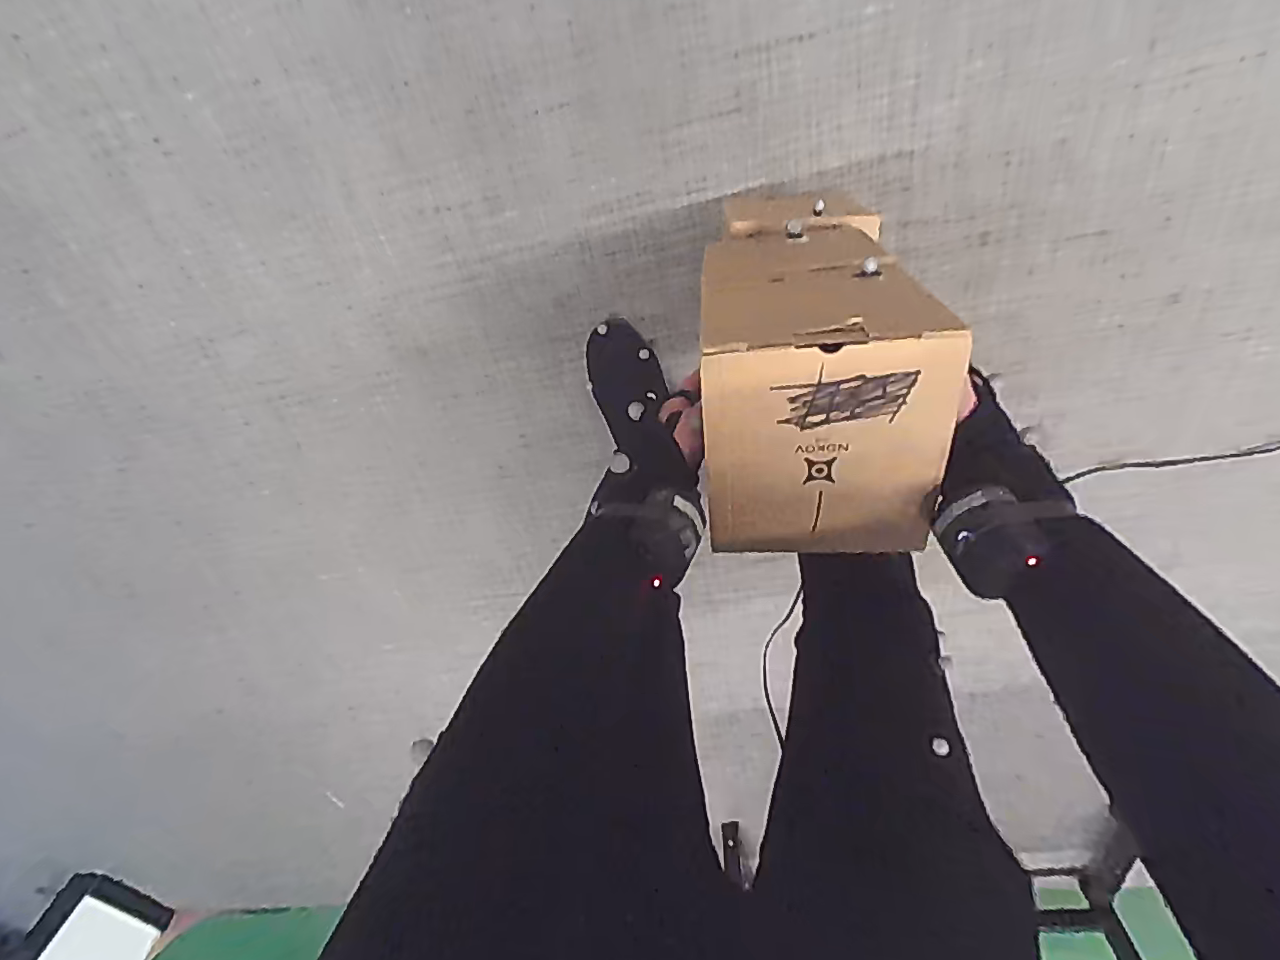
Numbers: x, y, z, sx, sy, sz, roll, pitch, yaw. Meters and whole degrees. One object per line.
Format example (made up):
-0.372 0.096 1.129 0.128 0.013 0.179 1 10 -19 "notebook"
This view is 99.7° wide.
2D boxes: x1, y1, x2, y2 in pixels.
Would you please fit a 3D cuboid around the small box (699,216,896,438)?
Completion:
0.155 -0.163 0.572 0.168 0.176 0.179 -3 123 11 "small box"

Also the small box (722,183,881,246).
0.190 -0.272 0.702 0.168 0.176 0.179 0 127 5 "small box"
